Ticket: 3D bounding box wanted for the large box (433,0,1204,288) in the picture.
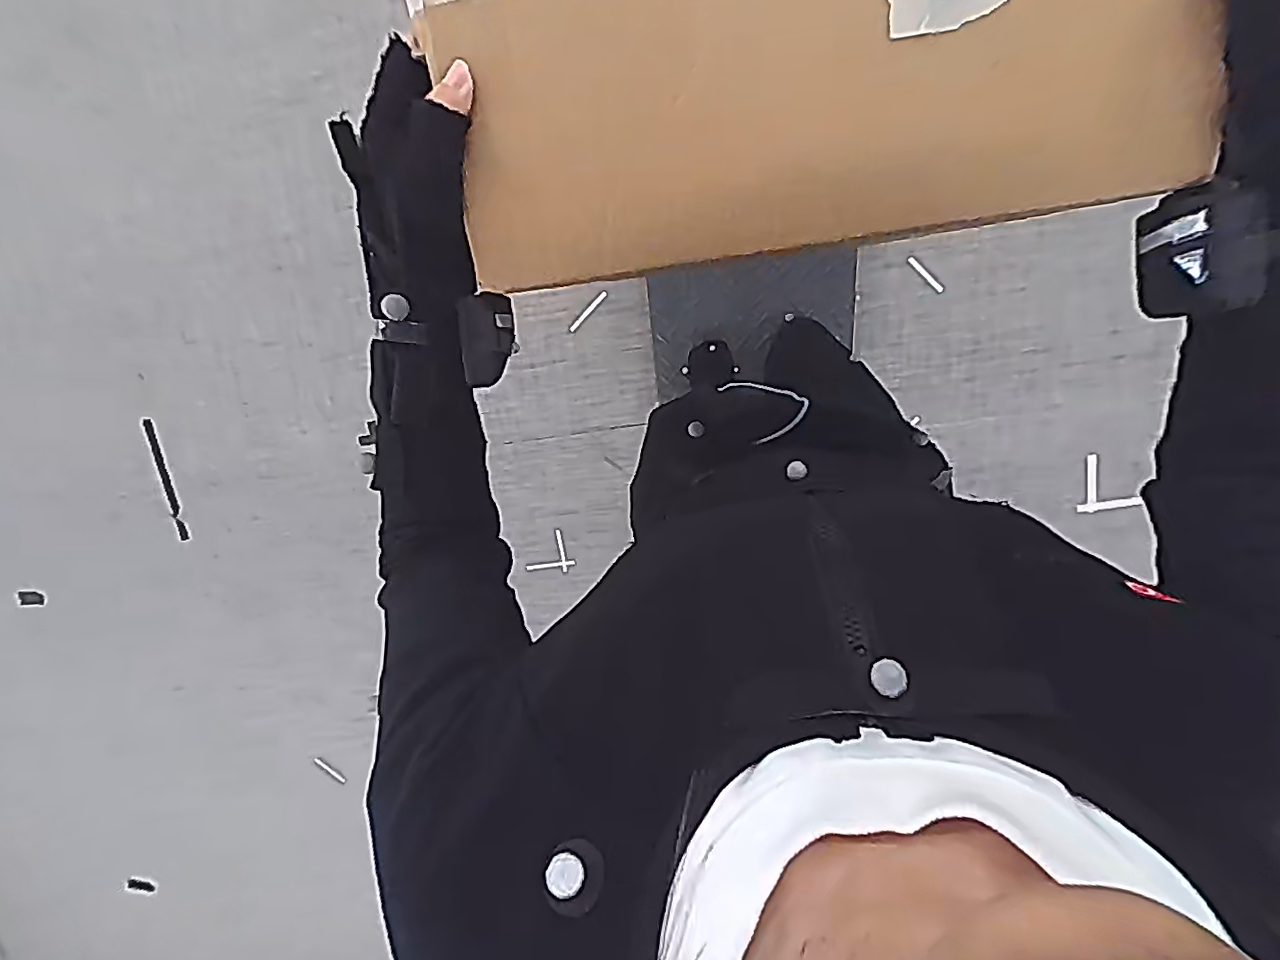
[{"bbox_3d":[0.089,-0.342,0.415,0.408,0.320,0.320,-6,110,8],"label":"large box"}]
